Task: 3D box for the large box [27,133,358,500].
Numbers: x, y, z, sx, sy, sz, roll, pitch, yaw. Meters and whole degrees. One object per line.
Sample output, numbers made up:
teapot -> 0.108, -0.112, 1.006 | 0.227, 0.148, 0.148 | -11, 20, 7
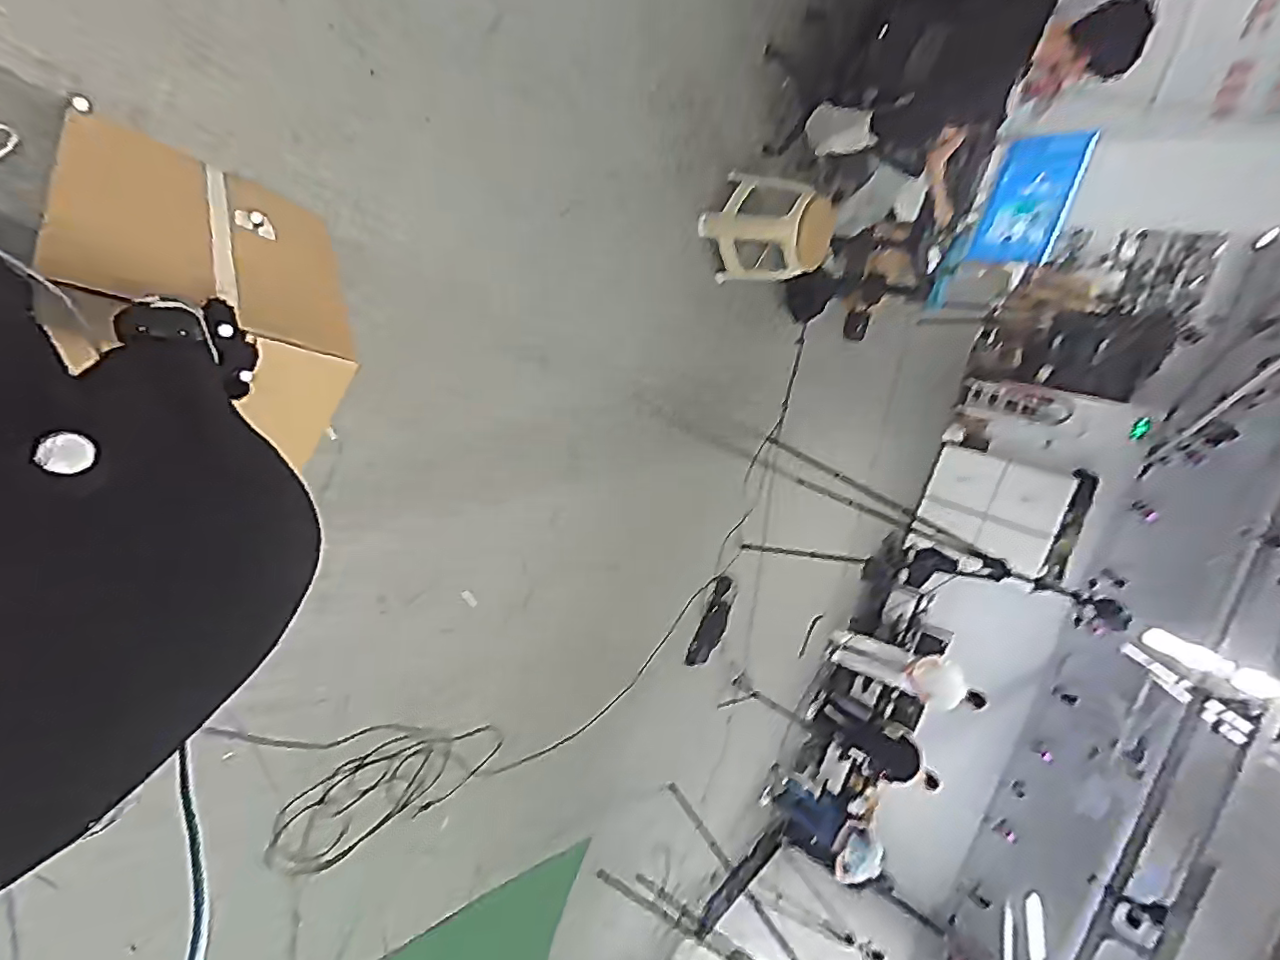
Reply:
large box -> -0.681, -0.218, 0.825 | 0.320, 0.408, 0.320 | 10, 131, -48
